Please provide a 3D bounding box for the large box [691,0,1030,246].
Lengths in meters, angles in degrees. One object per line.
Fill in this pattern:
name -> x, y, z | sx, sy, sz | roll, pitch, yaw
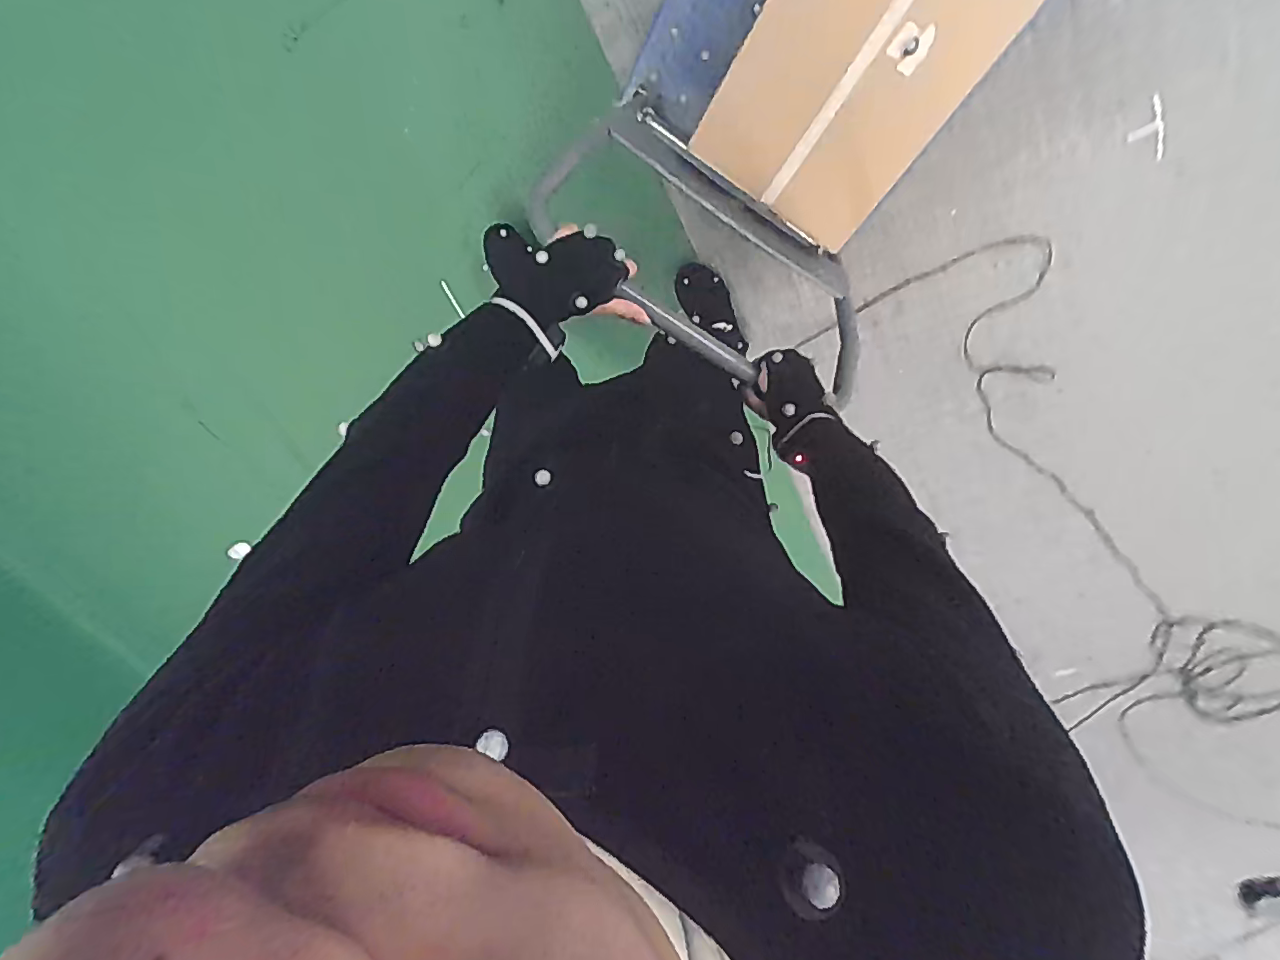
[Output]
large box -> 0.331, -0.695, 0.918 | 0.320, 0.320, 0.408 | 30, 128, -12
